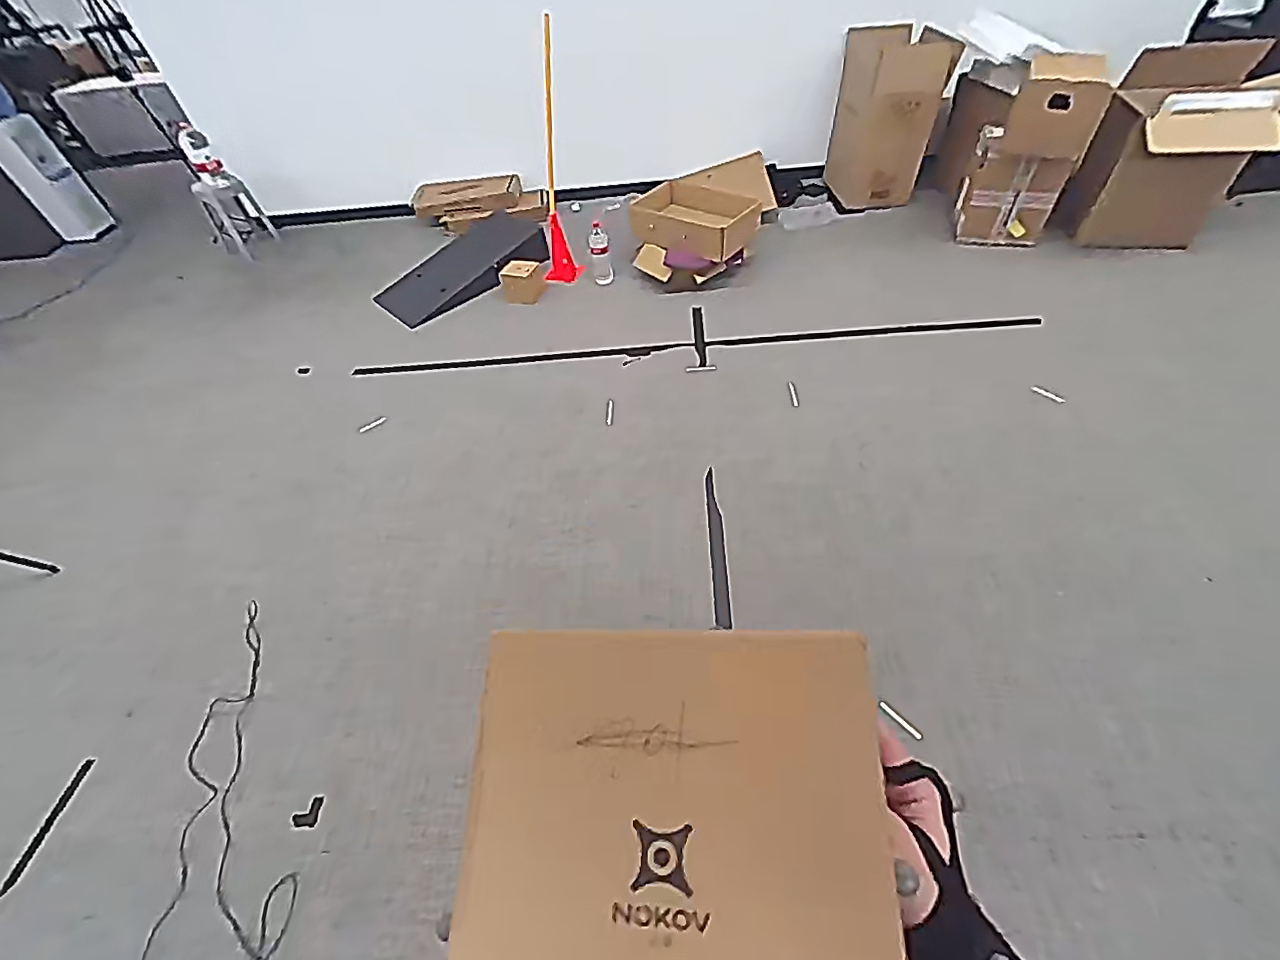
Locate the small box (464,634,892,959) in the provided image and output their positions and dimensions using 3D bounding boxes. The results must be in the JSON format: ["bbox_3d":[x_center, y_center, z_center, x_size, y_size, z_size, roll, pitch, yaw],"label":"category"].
[{"bbox_3d":[0.027,0.181,0.287,0.168,0.176,0.179,-3,66,11],"label":"small box"}]
